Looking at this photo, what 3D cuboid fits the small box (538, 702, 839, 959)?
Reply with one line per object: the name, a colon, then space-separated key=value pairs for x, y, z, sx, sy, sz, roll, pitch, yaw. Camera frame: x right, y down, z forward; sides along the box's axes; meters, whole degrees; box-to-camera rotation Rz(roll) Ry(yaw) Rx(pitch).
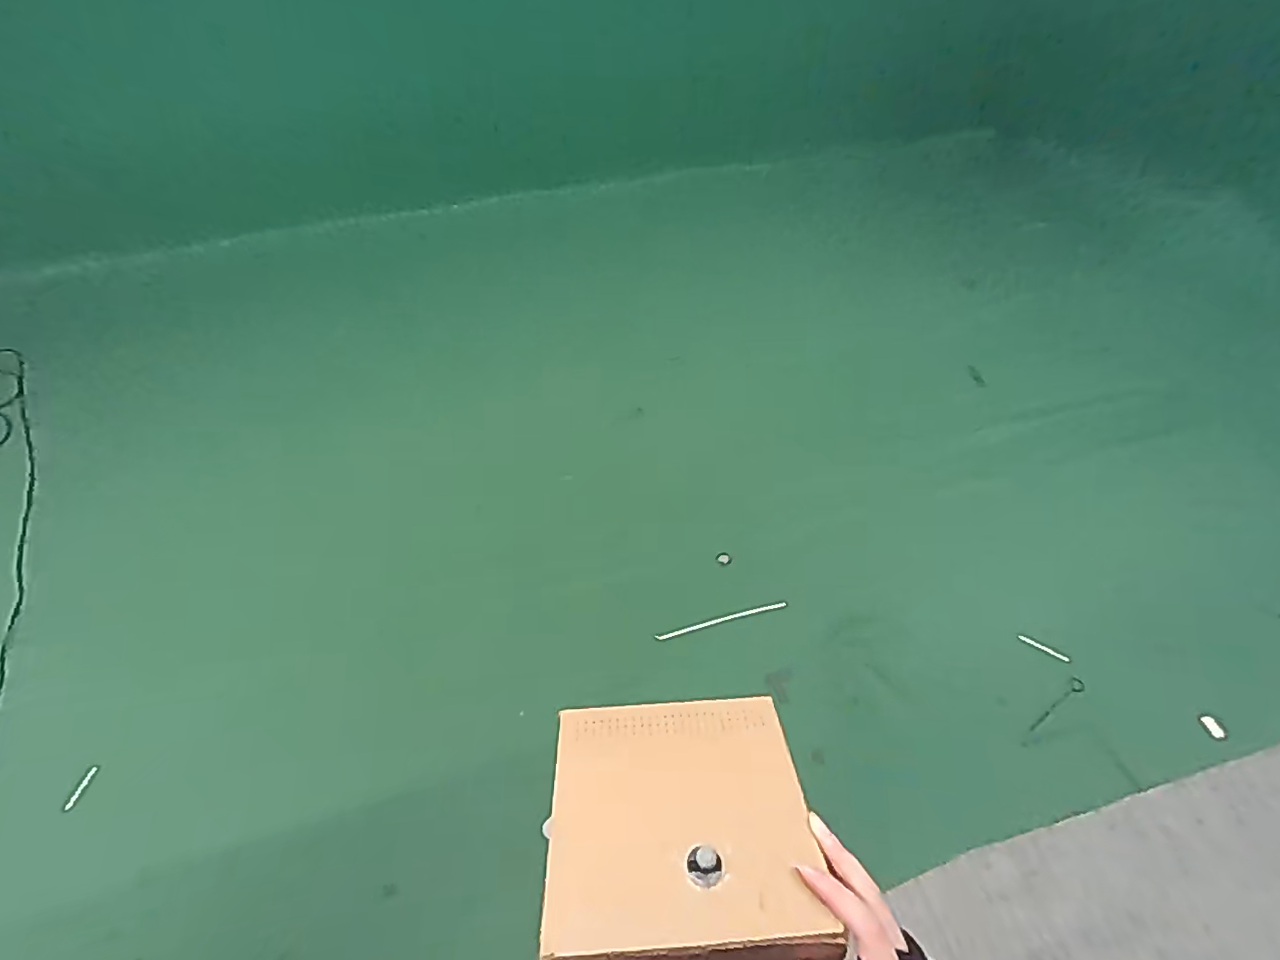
small box: x=0.026 y=0.291 z=0.412 sx=0.179 sy=0.168 sz=0.176 roll=-3 pitch=27 yaw=-1
